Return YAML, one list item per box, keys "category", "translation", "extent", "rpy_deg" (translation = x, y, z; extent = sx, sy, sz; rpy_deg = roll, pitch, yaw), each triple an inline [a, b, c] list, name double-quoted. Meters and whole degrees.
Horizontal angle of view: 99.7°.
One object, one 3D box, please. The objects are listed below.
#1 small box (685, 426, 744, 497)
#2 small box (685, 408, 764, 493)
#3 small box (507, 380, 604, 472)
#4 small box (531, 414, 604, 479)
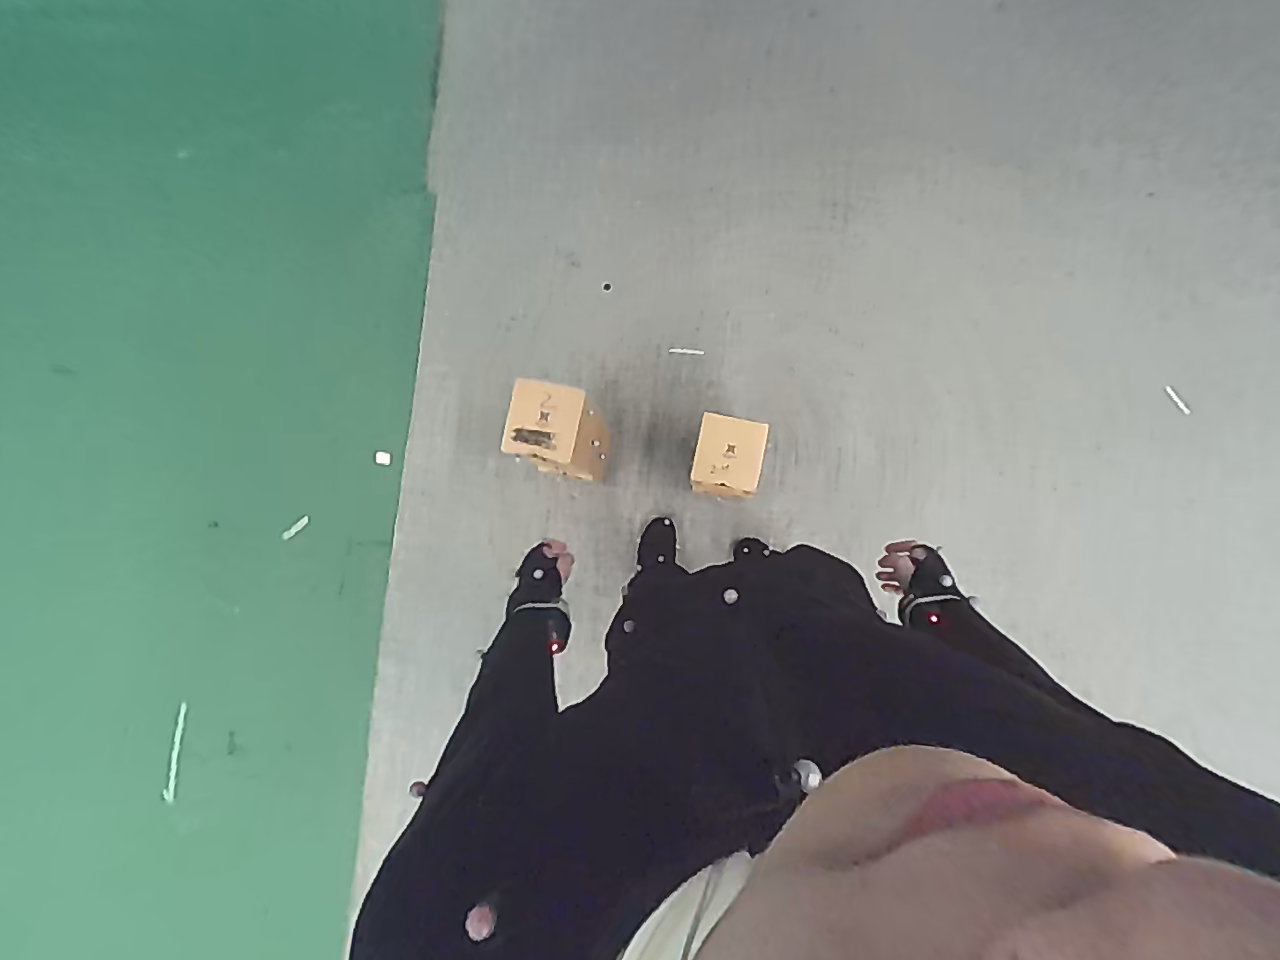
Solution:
- category: "small box"
  translation: [0.224, -0.048, 1.563]
  extent: [0.168, 0.176, 0.179]
  rpy_deg: [8, 87, 5]
- category: "small box"
  translation: [0.213, -0.070, 1.399]
  extent: [0.168, 0.176, 0.179]
  rpy_deg: [13, 87, 6]
- category: "small box"
  translation: [-0.219, -0.134, 1.450]
  extent: [0.179, 0.176, 0.168]
  rpy_deg: [43, 92, 7]
- category: "small box"
  translation: [-0.207, -0.104, 1.602]
  extent: [0.168, 0.176, 0.179]
  rpy_deg: [11, 86, 5]
